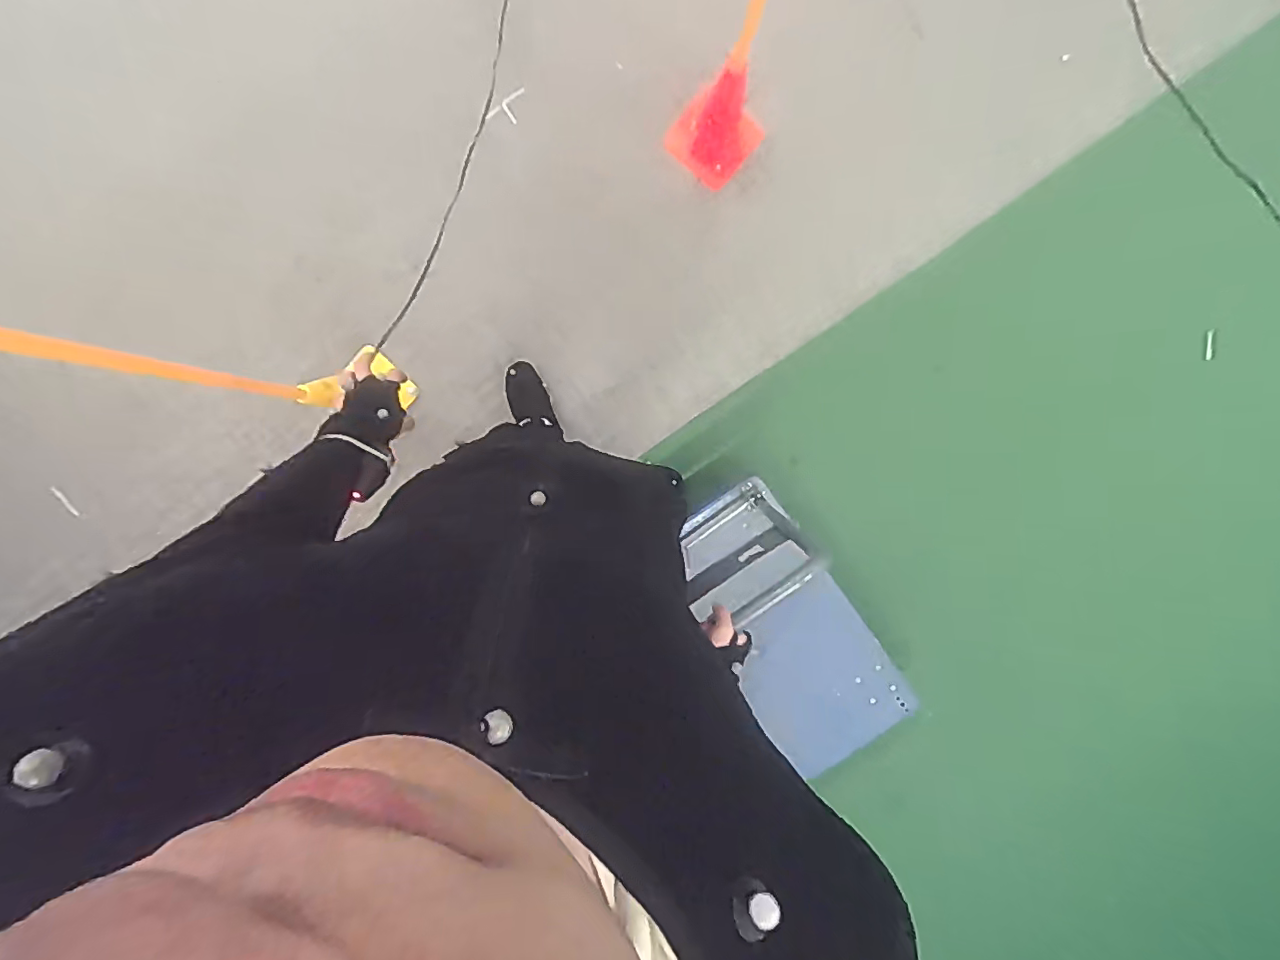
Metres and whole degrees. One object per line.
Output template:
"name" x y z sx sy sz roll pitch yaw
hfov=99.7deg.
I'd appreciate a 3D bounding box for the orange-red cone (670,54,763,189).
"orange-red cone" 0.210 -0.890 1.285 0.198 0.360 0.199 40 96 -8
